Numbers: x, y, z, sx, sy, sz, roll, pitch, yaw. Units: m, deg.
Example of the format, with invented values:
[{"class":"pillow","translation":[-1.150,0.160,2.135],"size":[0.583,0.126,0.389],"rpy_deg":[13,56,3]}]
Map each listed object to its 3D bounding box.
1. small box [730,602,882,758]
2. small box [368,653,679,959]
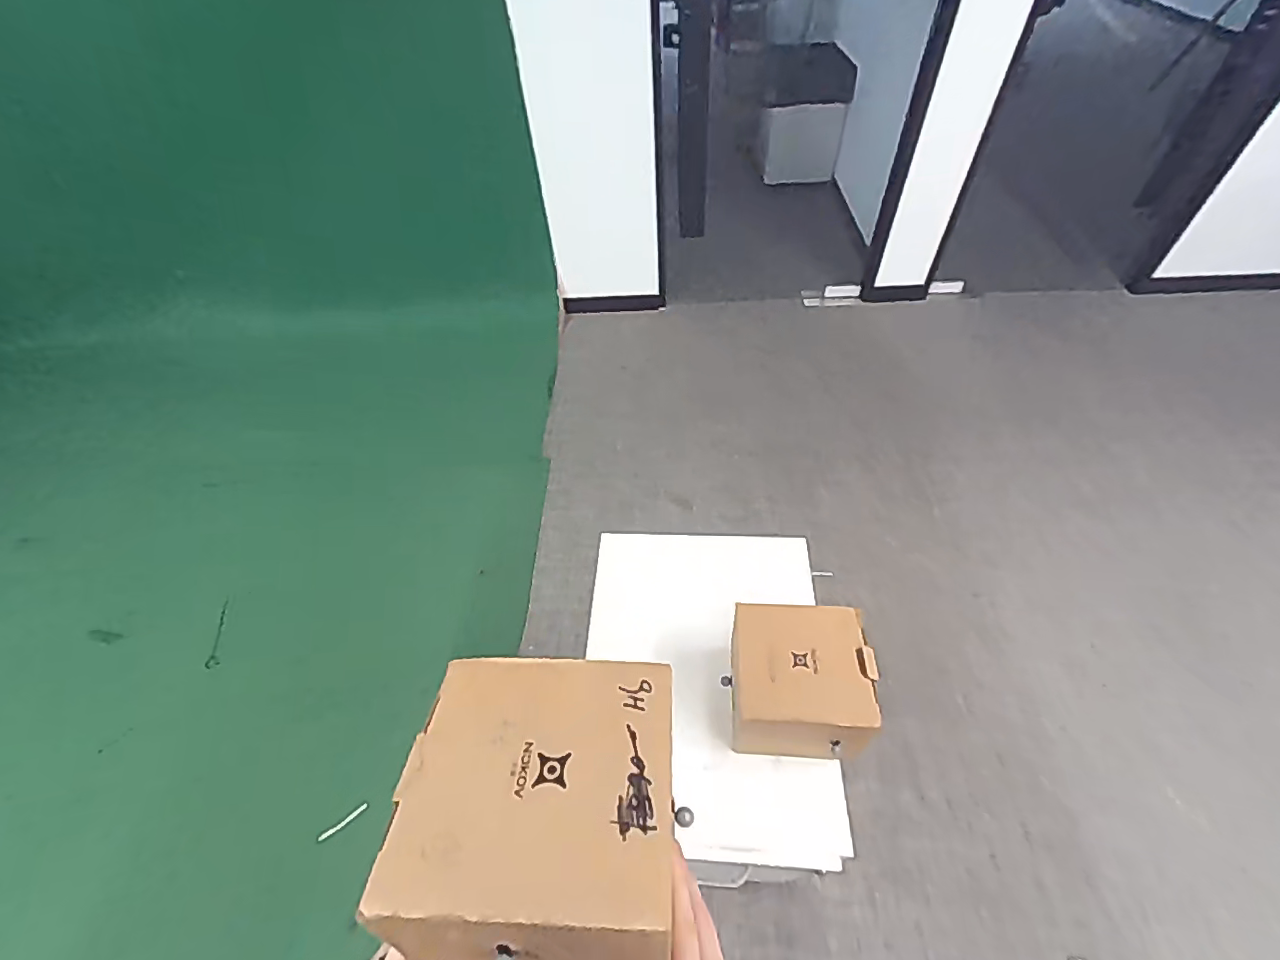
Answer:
[{"class":"small box","translation":[0.225,0.293,0.785],"size":[0.179,0.176,0.168],"rpy_deg":[0,50,6]},{"class":"small box","translation":[-0.060,0.251,0.406],"size":[0.179,0.176,0.168],"rpy_deg":[0,38,4]}]
